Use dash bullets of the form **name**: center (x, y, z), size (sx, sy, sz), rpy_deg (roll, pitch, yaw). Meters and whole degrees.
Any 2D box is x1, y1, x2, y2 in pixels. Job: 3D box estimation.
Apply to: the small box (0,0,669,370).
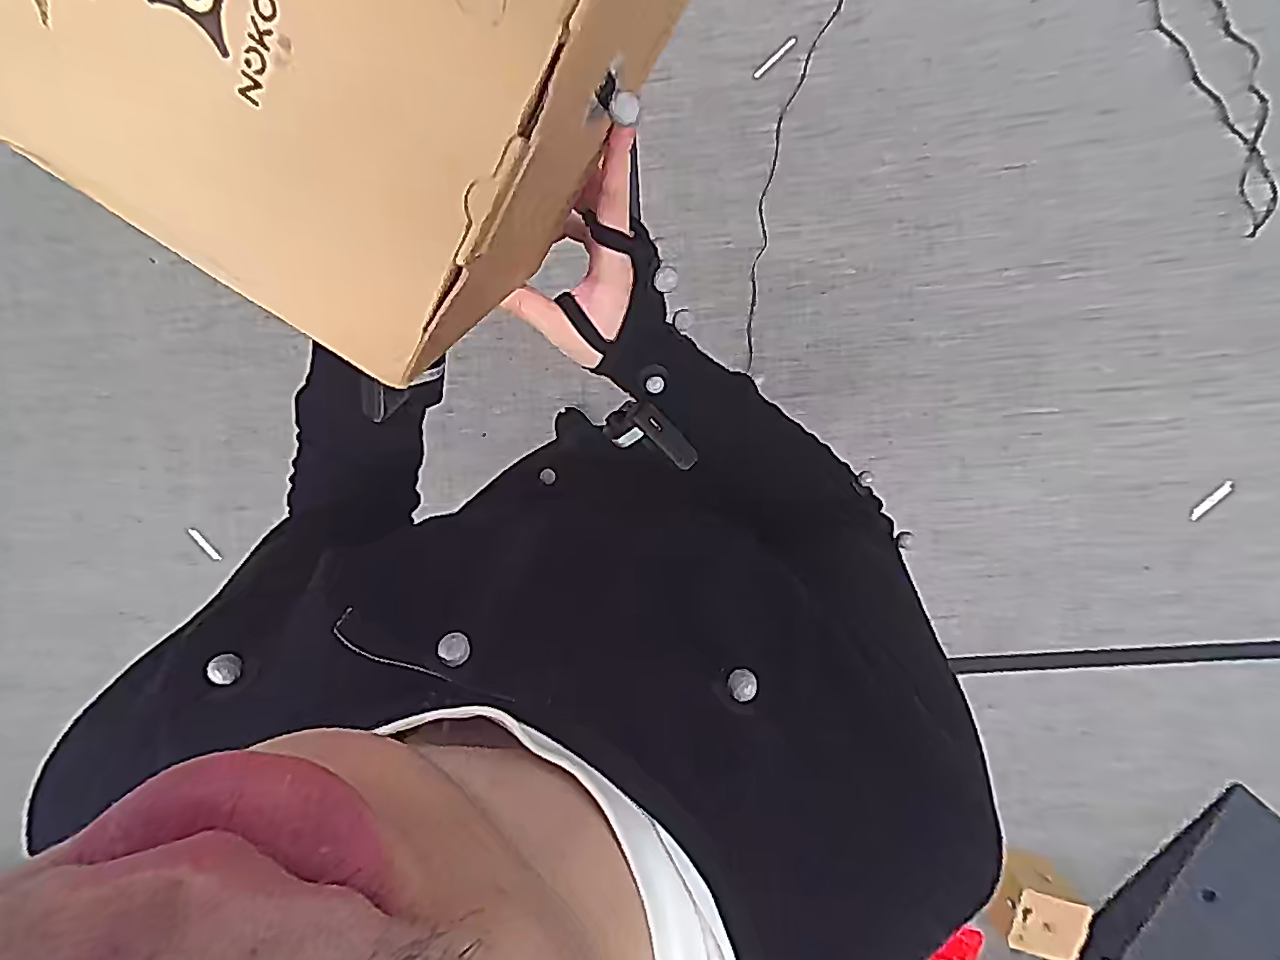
- **small box**: center (-0.105, -0.185, 0.221), size (0.179, 0.176, 0.168), rpy_deg (34, 124, -13)
